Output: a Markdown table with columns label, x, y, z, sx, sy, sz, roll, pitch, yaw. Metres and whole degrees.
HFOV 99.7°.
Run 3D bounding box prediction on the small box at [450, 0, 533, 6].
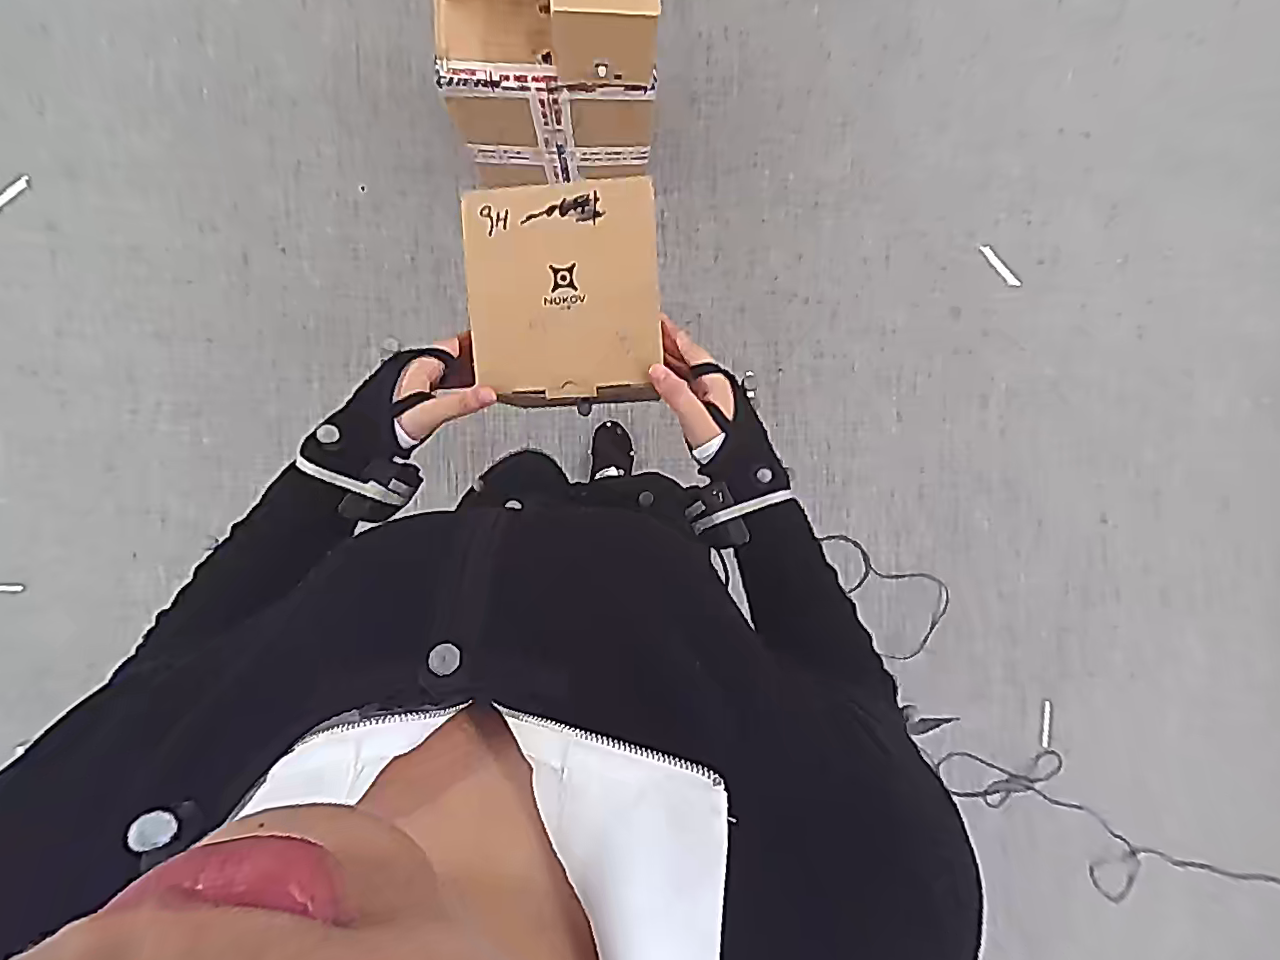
| label | x | y | z | sx | sy | sz | roll | pitch | yaw |
| --- | --- | --- | --- | --- | --- | --- | --- | --- | --- |
| small box | -0.260 | -0.913 | 0.858 | 0.168 | 0.176 | 0.179 | 1 | 95 | -1 |

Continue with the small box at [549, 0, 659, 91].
| label | x | y | z | sx | sy | sz | roll | pitch | yaw |
| --- | --- | --- | --- | --- | --- | --- | --- | --- | --- |
| small box | -0.058 | -0.781 | 0.879 | 0.168 | 0.176 | 0.179 | 1 | 96 | -4 |
